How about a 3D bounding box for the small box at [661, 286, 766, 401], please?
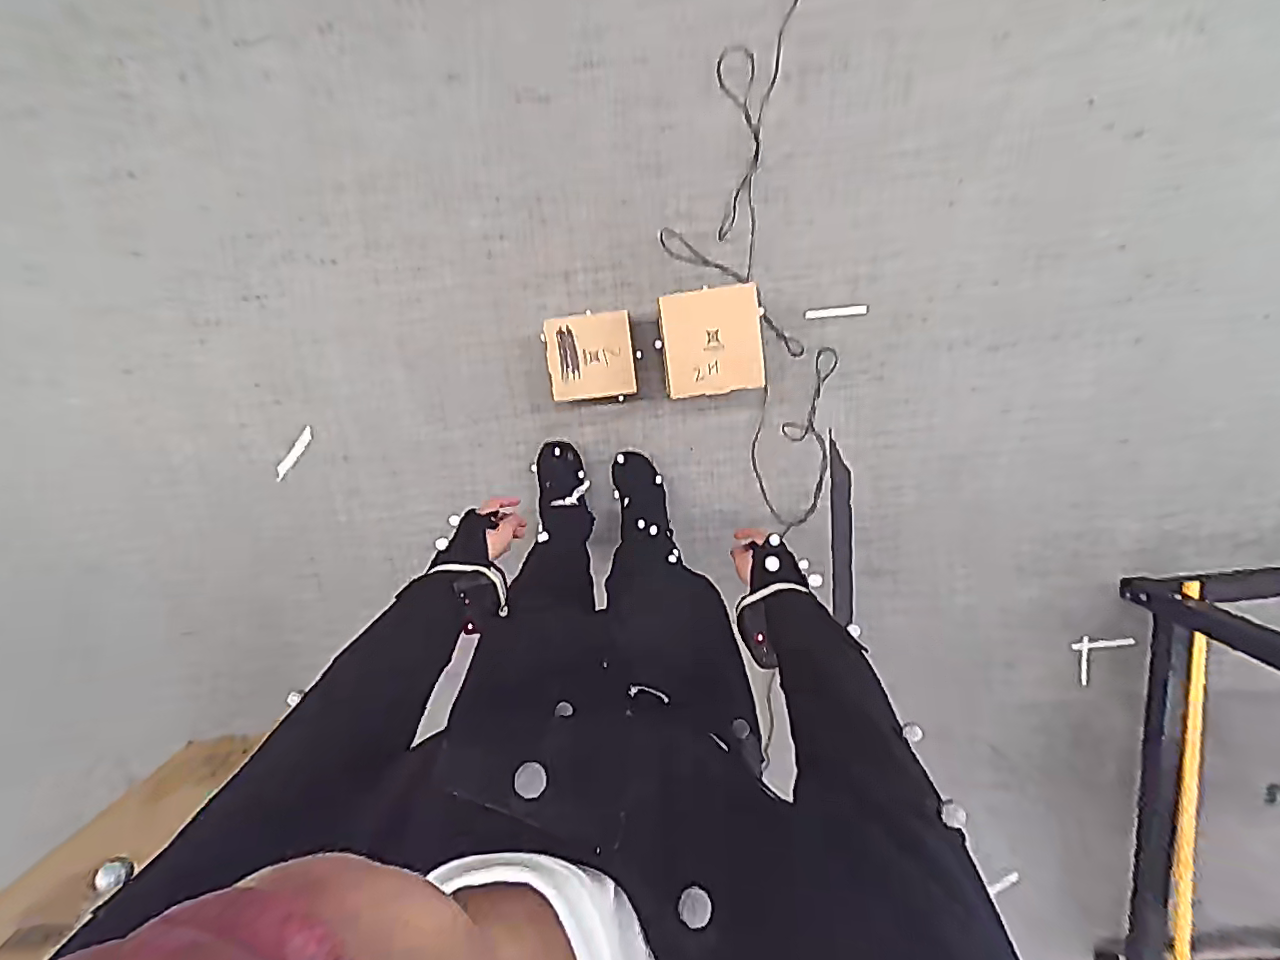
[{"bbox_3d":[0.129,-0.243,0.995,0.168,0.176,0.179,-7,101,3],"label":"small box"}]
